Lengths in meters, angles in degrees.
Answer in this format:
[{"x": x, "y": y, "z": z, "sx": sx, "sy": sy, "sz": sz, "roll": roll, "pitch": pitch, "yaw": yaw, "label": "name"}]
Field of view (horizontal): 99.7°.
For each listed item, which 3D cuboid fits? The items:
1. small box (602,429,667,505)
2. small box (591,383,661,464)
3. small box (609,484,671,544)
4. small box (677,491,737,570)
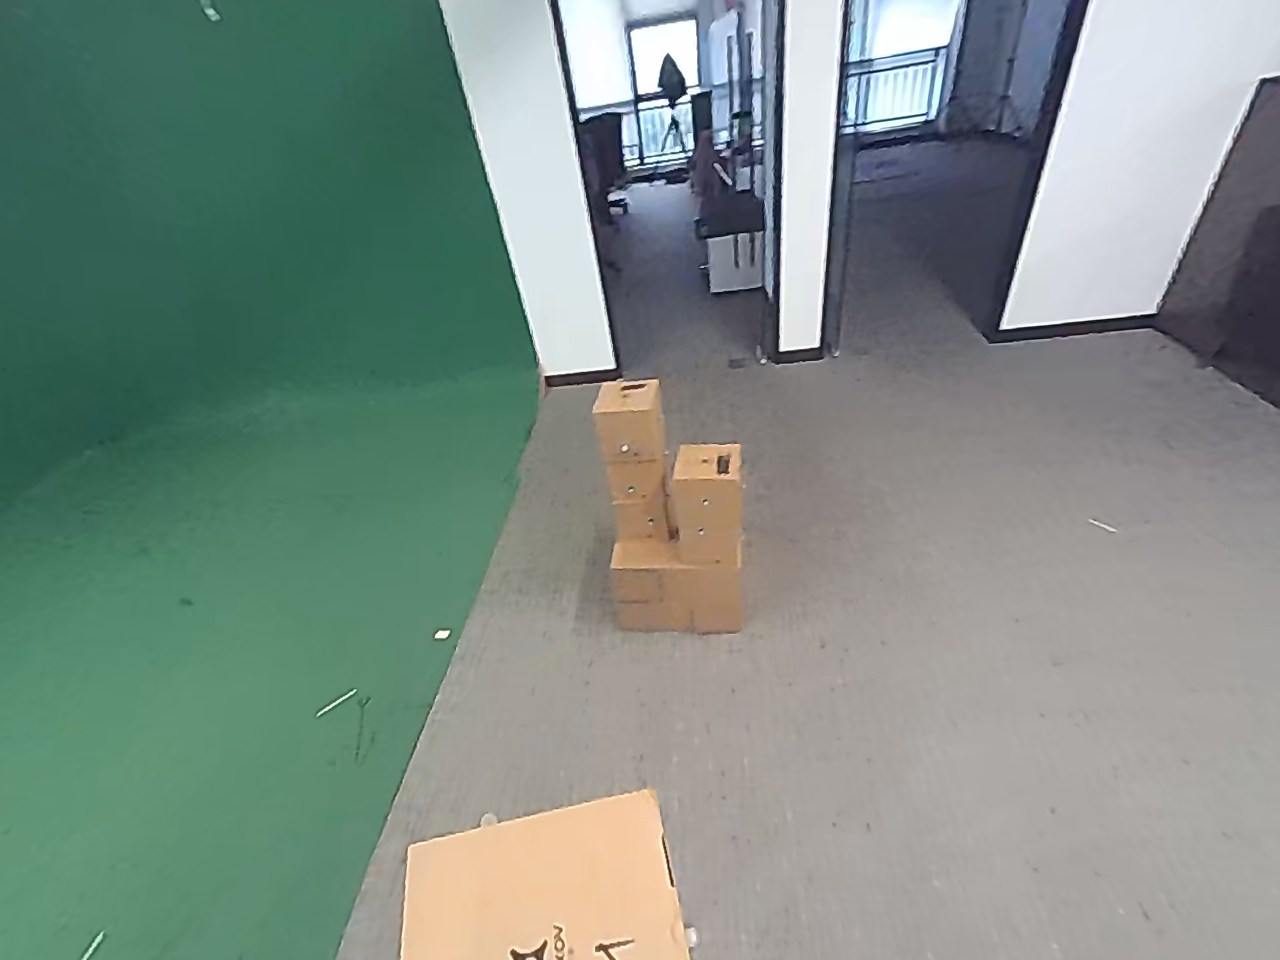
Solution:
[{"x": -0.011, "y": -0.040, "z": 1.665, "sx": 0.168, "sy": 0.176, "sz": 0.179, "roll": -2, "pitch": 38, "yaw": 10, "label": "small box"}, {"x": -0.034, "y": -0.163, "z": 1.559, "sx": 0.168, "sy": 0.176, "sz": 0.179, "roll": -2, "pitch": 37, "yaw": 11, "label": "small box"}, {"x": 0.006, "y": 0.094, "z": 1.758, "sx": 0.168, "sy": 0.176, "sz": 0.179, "roll": -2, "pitch": 35, "yaw": 10, "label": "small box"}, {"x": 0.207, "y": 0.149, "z": 1.630, "sx": 0.168, "sy": 0.176, "sz": 0.179, "roll": -1, "pitch": 35, "yaw": 12, "label": "small box"}]
